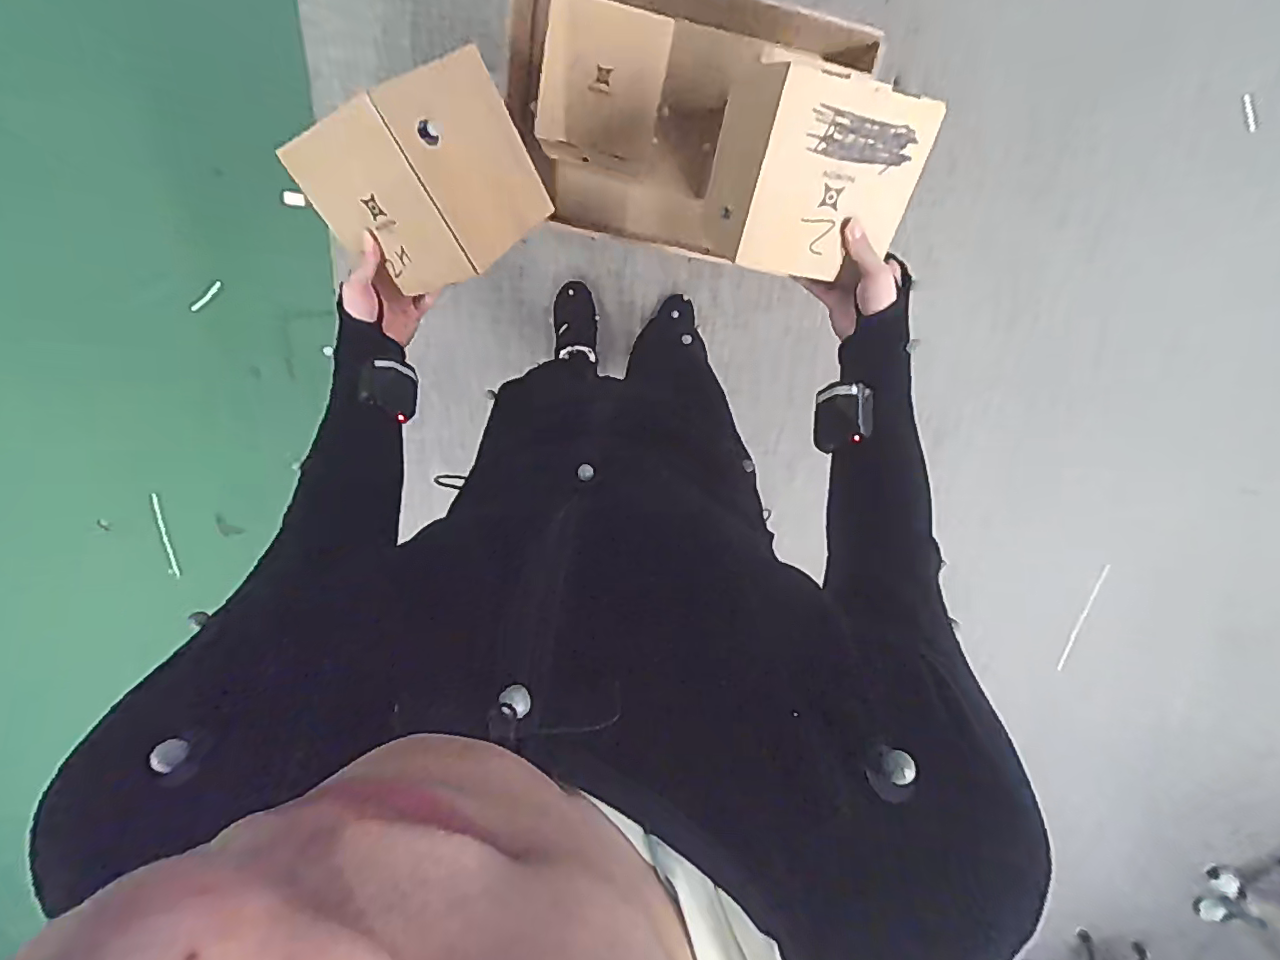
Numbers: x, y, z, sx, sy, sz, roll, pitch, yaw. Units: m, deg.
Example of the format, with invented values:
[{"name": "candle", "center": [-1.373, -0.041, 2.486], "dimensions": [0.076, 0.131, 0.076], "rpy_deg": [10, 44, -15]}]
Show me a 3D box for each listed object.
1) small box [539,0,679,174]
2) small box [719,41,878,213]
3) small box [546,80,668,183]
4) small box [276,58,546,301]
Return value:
[{"name": "small box", "center": [-0.049, -0.584, 0.814], "dimensions": [0.168, 0.176, 0.179], "rpy_deg": [11, 113, -7]}, {"name": "small box", "center": [0.229, -0.528, 0.841], "dimensions": [0.168, 0.176, 0.179], "rpy_deg": [11, 112, -7]}, {"name": "small box", "center": [-0.057, -0.647, 0.964], "dimensions": [0.179, 0.176, 0.168], "rpy_deg": [13, 113, -7]}, {"name": "small box", "center": [-0.239, -0.332, 0.602], "dimensions": [0.168, 0.176, 0.179], "rpy_deg": [0, 137, 34]}]
